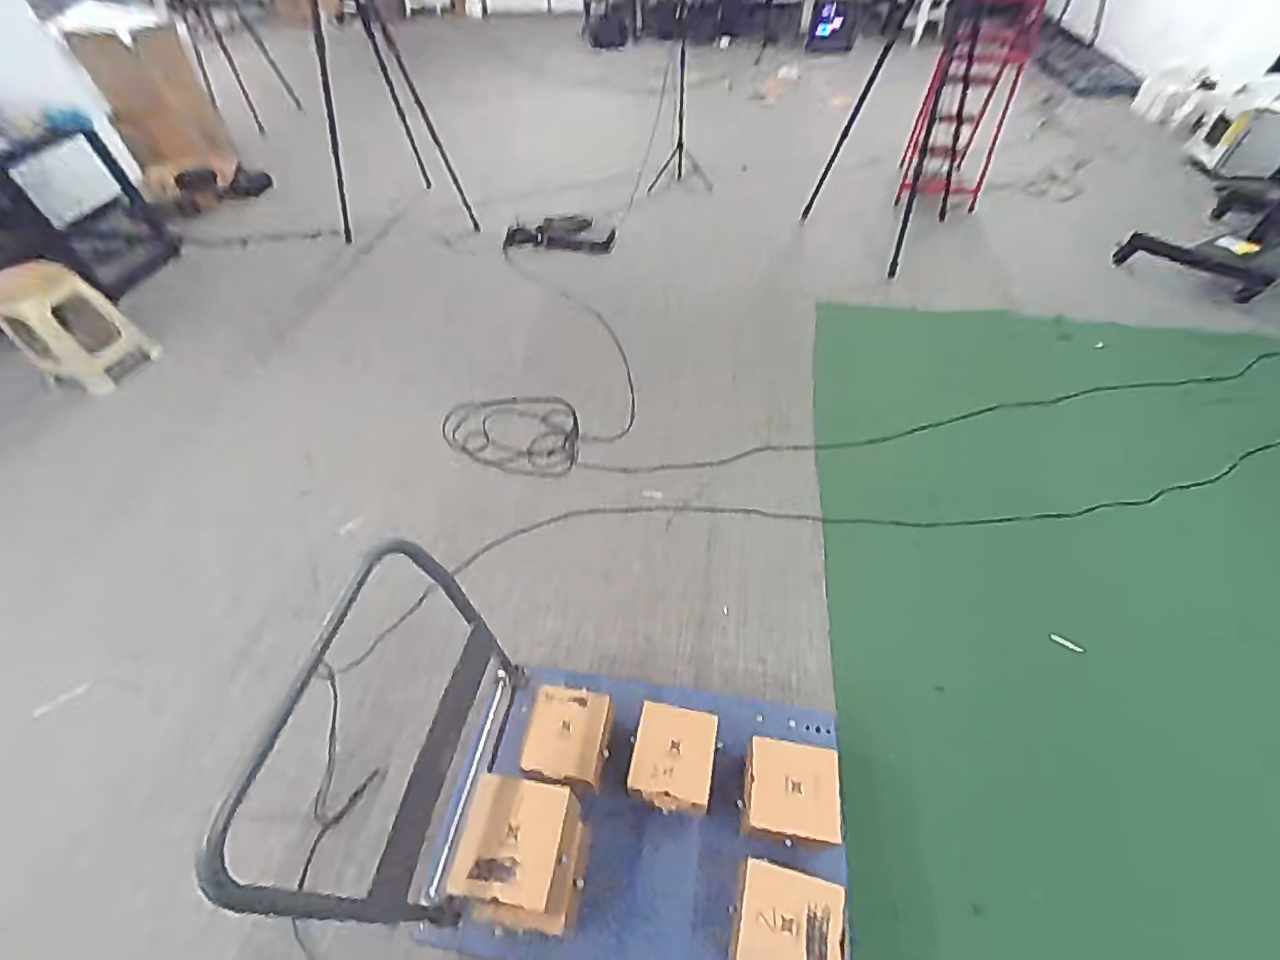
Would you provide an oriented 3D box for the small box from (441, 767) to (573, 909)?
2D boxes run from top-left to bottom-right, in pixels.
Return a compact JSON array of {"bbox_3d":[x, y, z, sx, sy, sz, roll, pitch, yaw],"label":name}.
[{"bbox_3d":[-0.221,0.638,0.961,0.168,0.176,0.179,7,50,7],"label":"small box"}]

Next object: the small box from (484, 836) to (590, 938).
[{"bbox_3d":[-0.220,0.767,1.077,0.179,0.176,0.168,32,59,26],"label":"small box"}]

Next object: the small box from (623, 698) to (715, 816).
[{"bbox_3d":[0.065,0.611,1.190,0.168,0.176,0.179,9,51,10],"label":"small box"}]

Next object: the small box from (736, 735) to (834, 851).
[{"bbox_3d":[0.300,0.662,1.139,0.179,0.176,0.168,8,51,9],"label":"small box"}]
